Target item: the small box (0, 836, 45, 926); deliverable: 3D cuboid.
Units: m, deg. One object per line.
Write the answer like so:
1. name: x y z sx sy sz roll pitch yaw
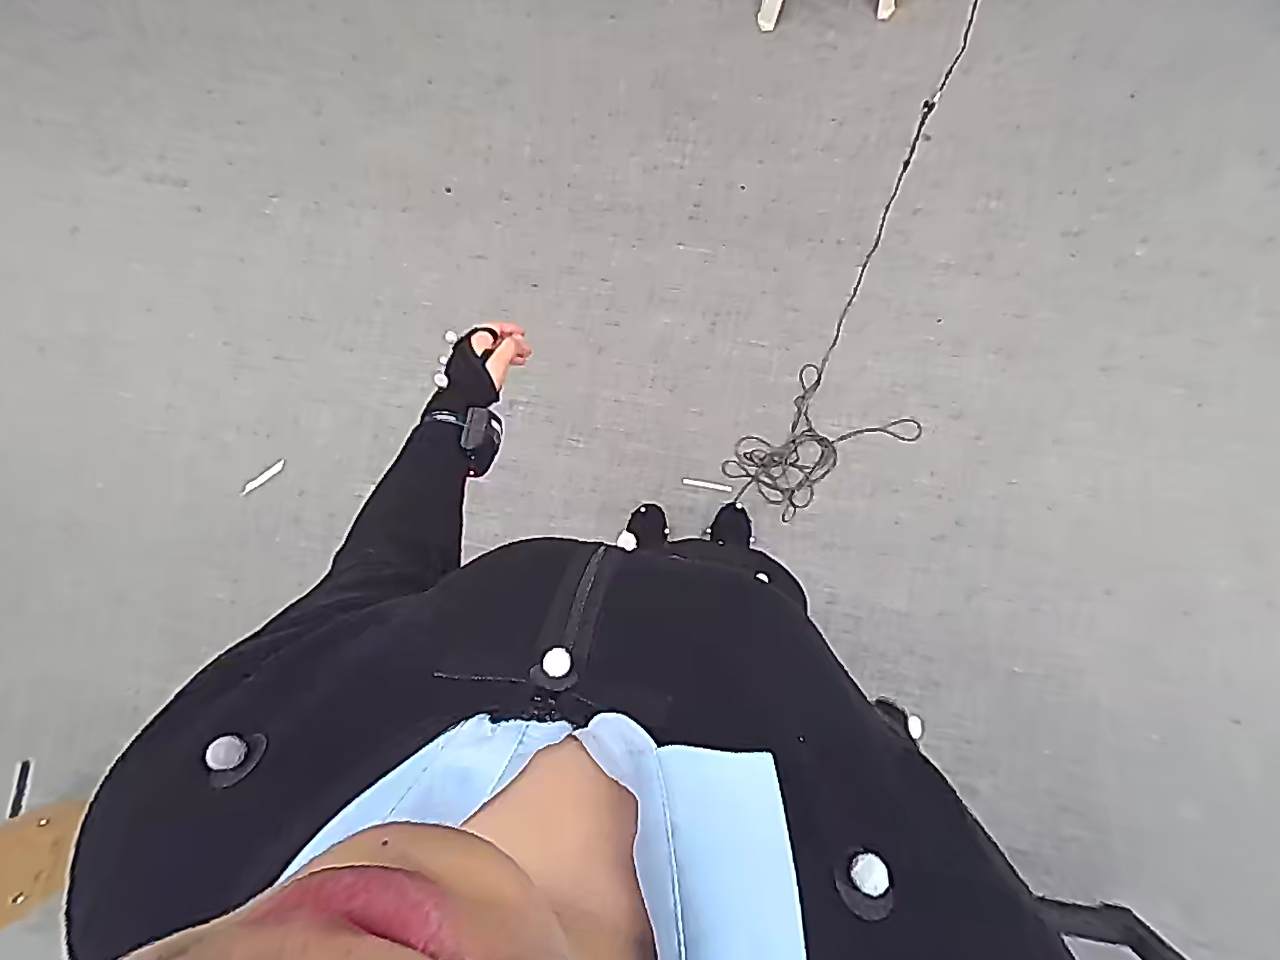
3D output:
1. small box: -1.644 1.008 1.320 0.179 0.176 0.168 14 87 5

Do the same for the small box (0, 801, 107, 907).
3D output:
1. small box: -1.634 1.014 1.483 0.179 0.176 0.168 8 86 6
